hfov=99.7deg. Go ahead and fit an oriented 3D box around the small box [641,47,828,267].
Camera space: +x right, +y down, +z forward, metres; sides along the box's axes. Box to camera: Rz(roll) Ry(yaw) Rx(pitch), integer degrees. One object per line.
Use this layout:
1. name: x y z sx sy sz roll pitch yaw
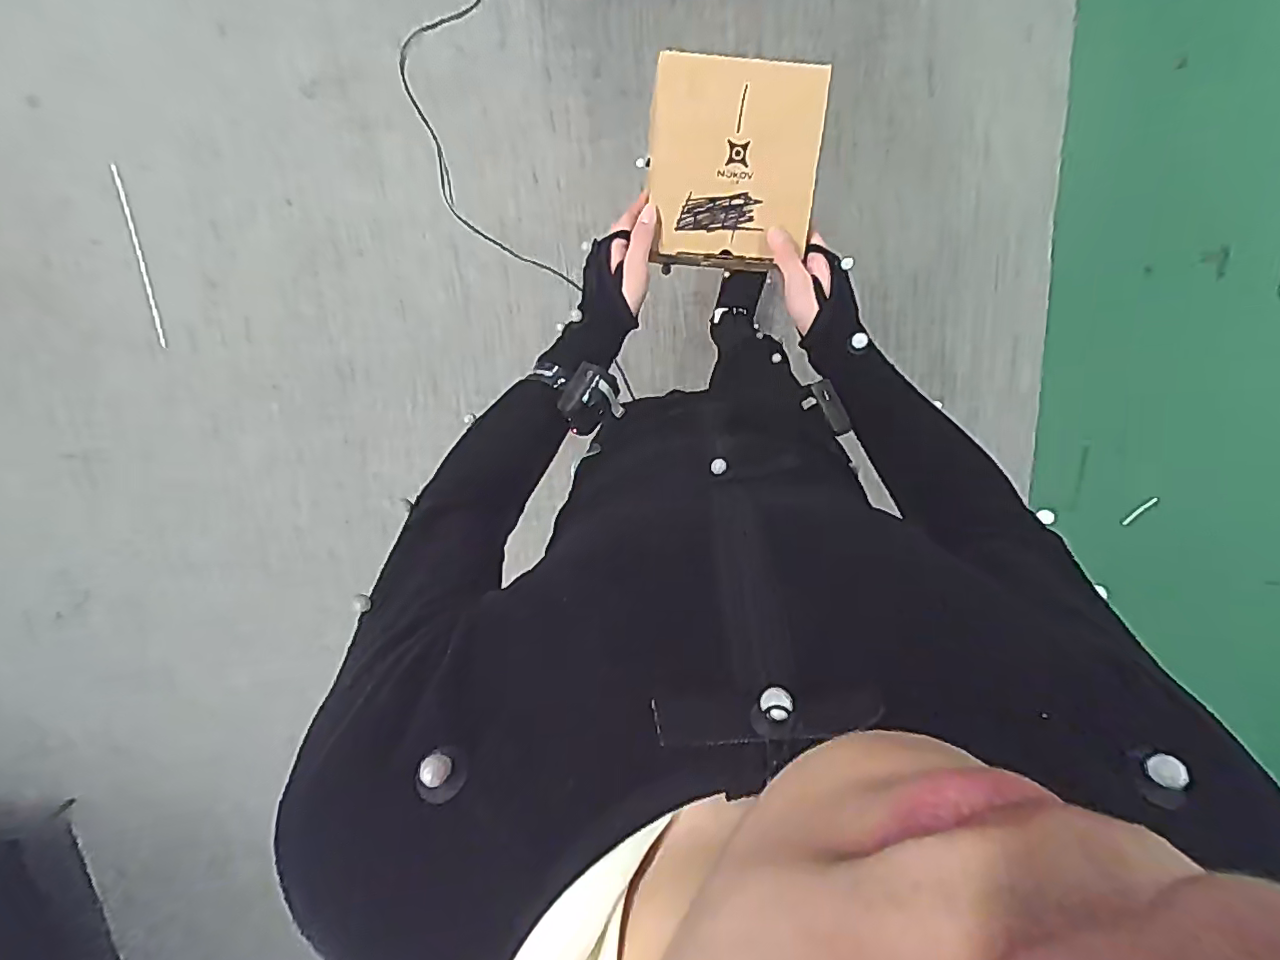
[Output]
1. small box: 0.089 -0.340 0.606 0.168 0.176 0.179 3 108 -3
